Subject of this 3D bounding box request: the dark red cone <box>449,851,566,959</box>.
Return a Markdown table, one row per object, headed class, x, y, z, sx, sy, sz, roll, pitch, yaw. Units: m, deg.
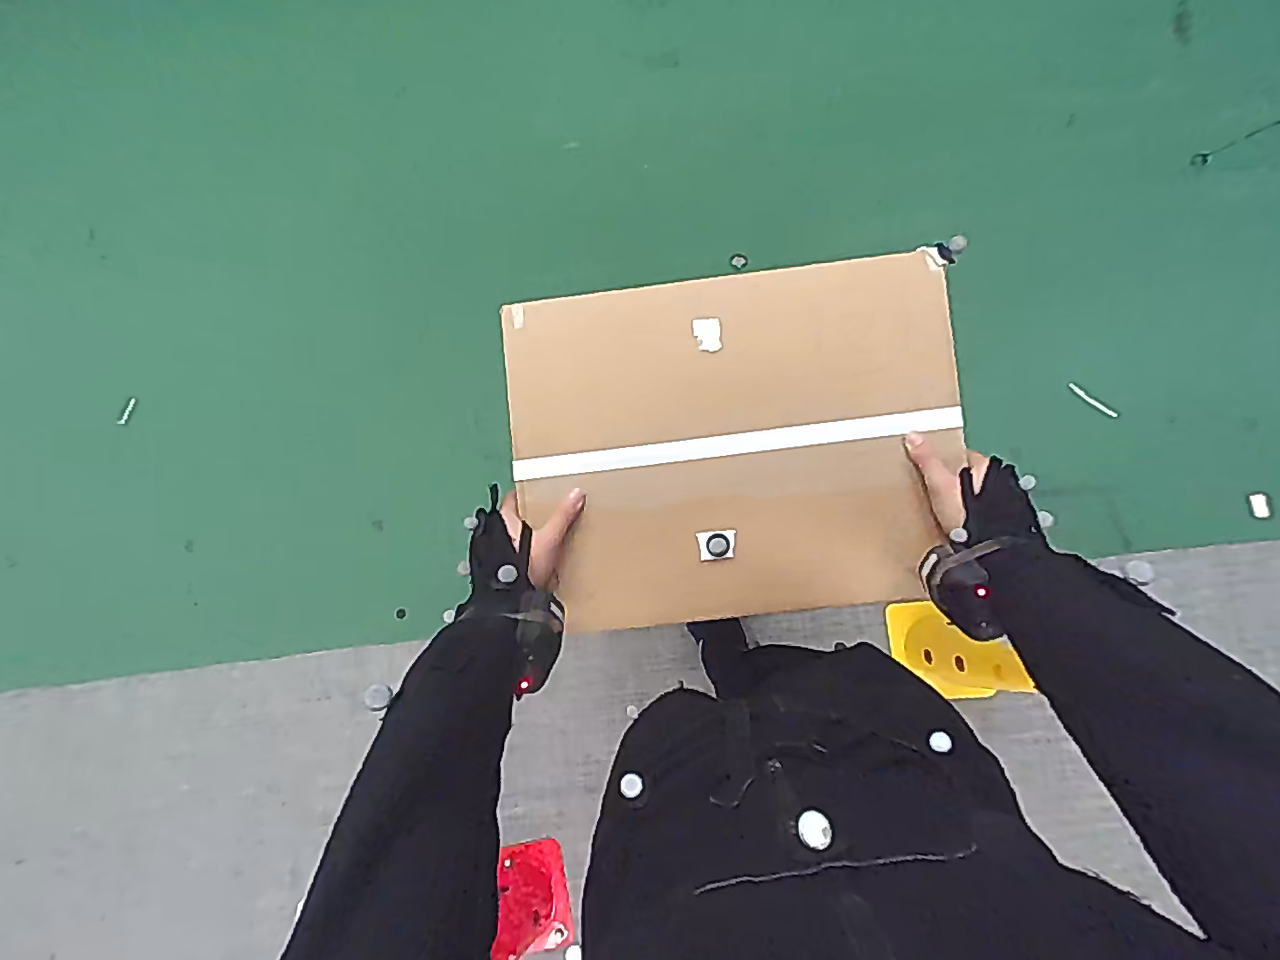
| class | x | y | z | sx | sy | sz | roll | pitch | yaw |
| --- | --- | --- | --- | --- | --- | --- | --- | --- | --- |
| dark red cone | -0.277 | 0.830 | 0.928 | 0.202 | 0.394 | 0.201 | -15 | 74 | 4 |
